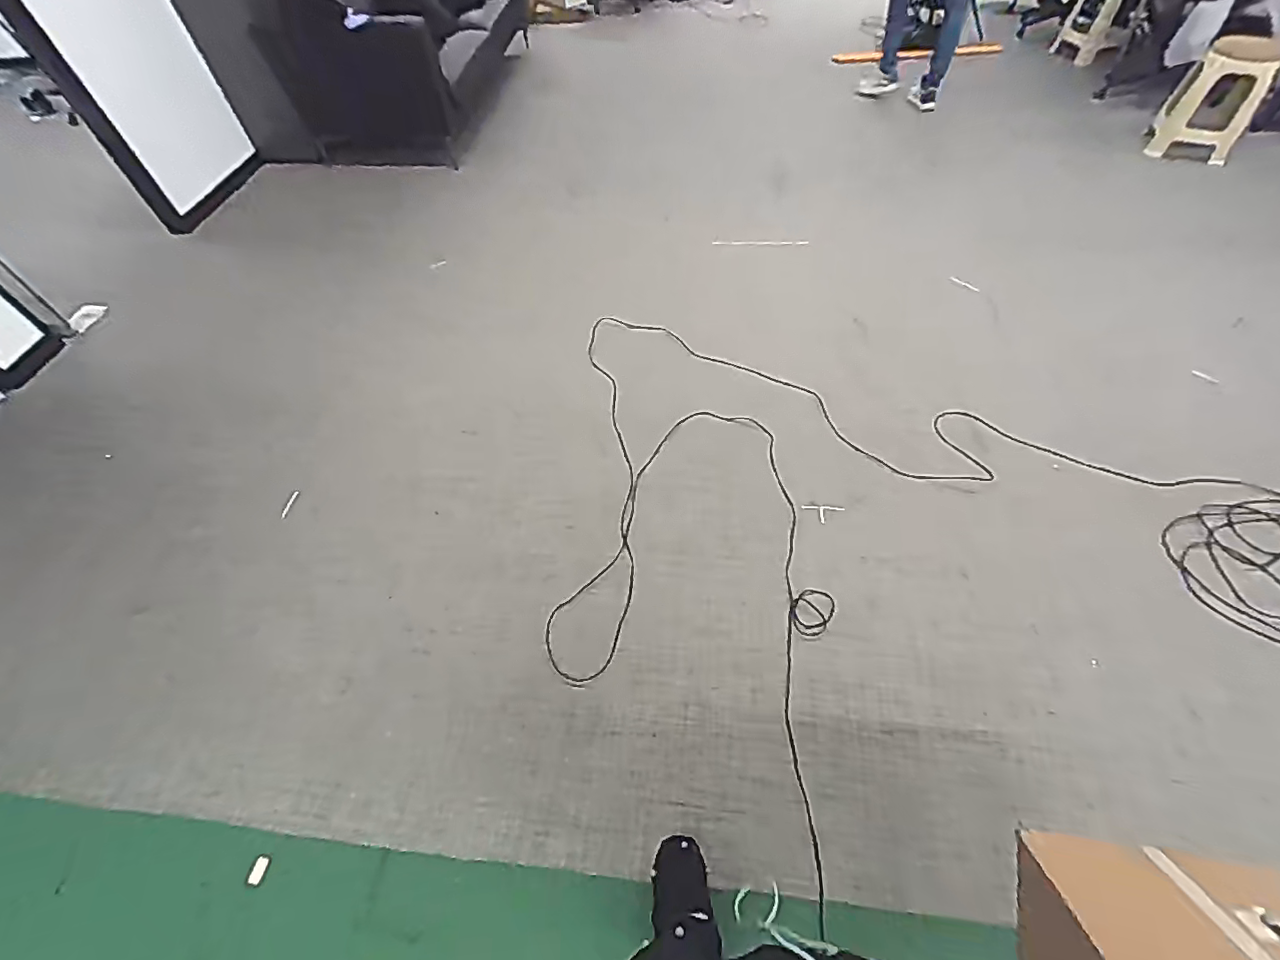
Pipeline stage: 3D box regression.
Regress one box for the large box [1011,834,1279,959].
[{"bbox_3d":[0.645,0.671,0.567,0.320,0.408,0.320,2,90,14],"label":"large box"}]
